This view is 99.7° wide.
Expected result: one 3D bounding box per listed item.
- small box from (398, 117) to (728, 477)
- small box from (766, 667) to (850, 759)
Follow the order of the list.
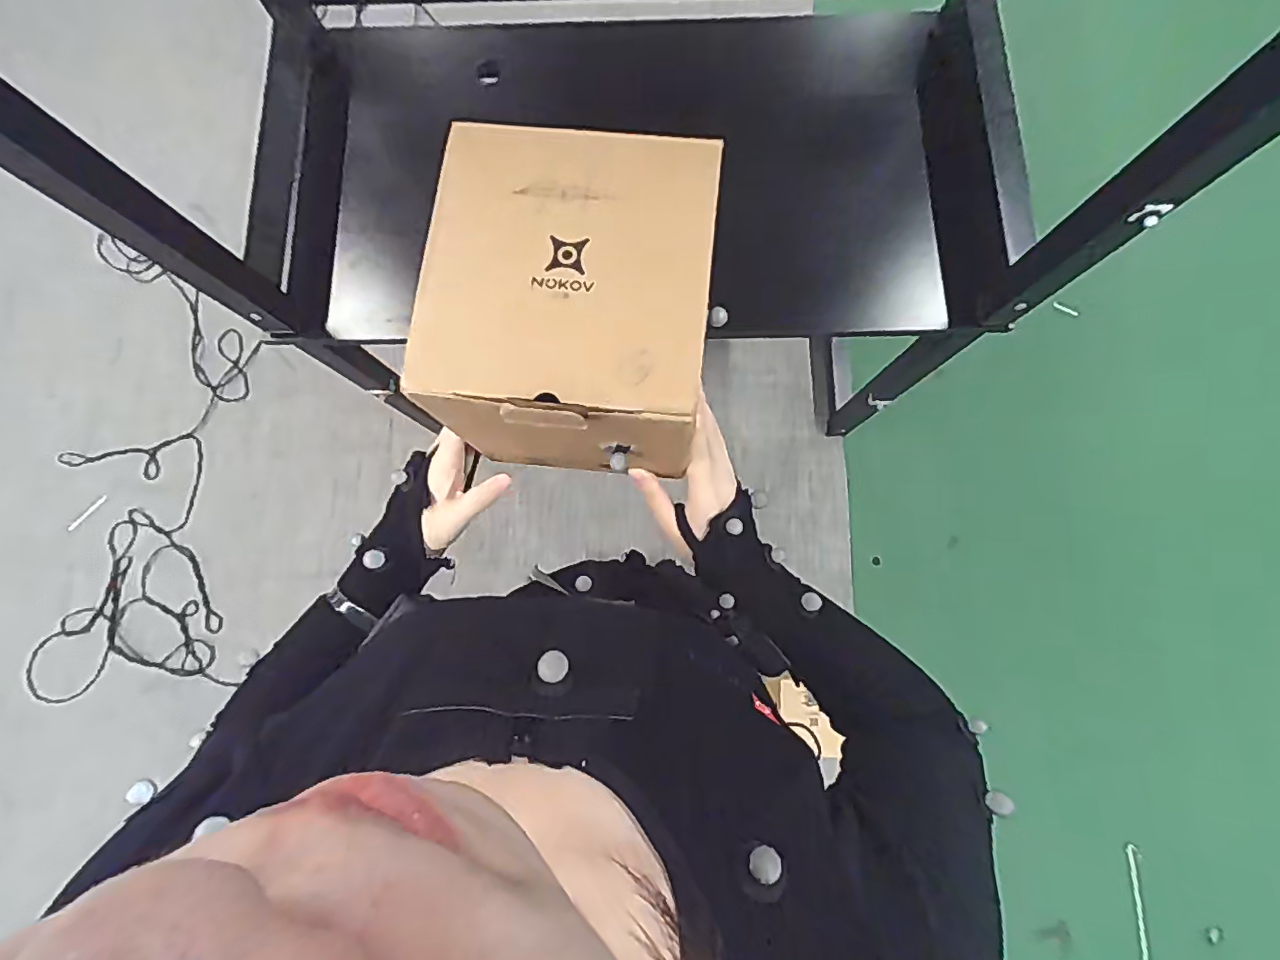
[{"bbox_3d":[-0.037,-0.105,0.377,0.168,0.176,0.179,6,79,2],"label":"small box"},{"bbox_3d":[0.417,0.577,1.361,0.168,0.176,0.179,3,82,3],"label":"small box"}]
